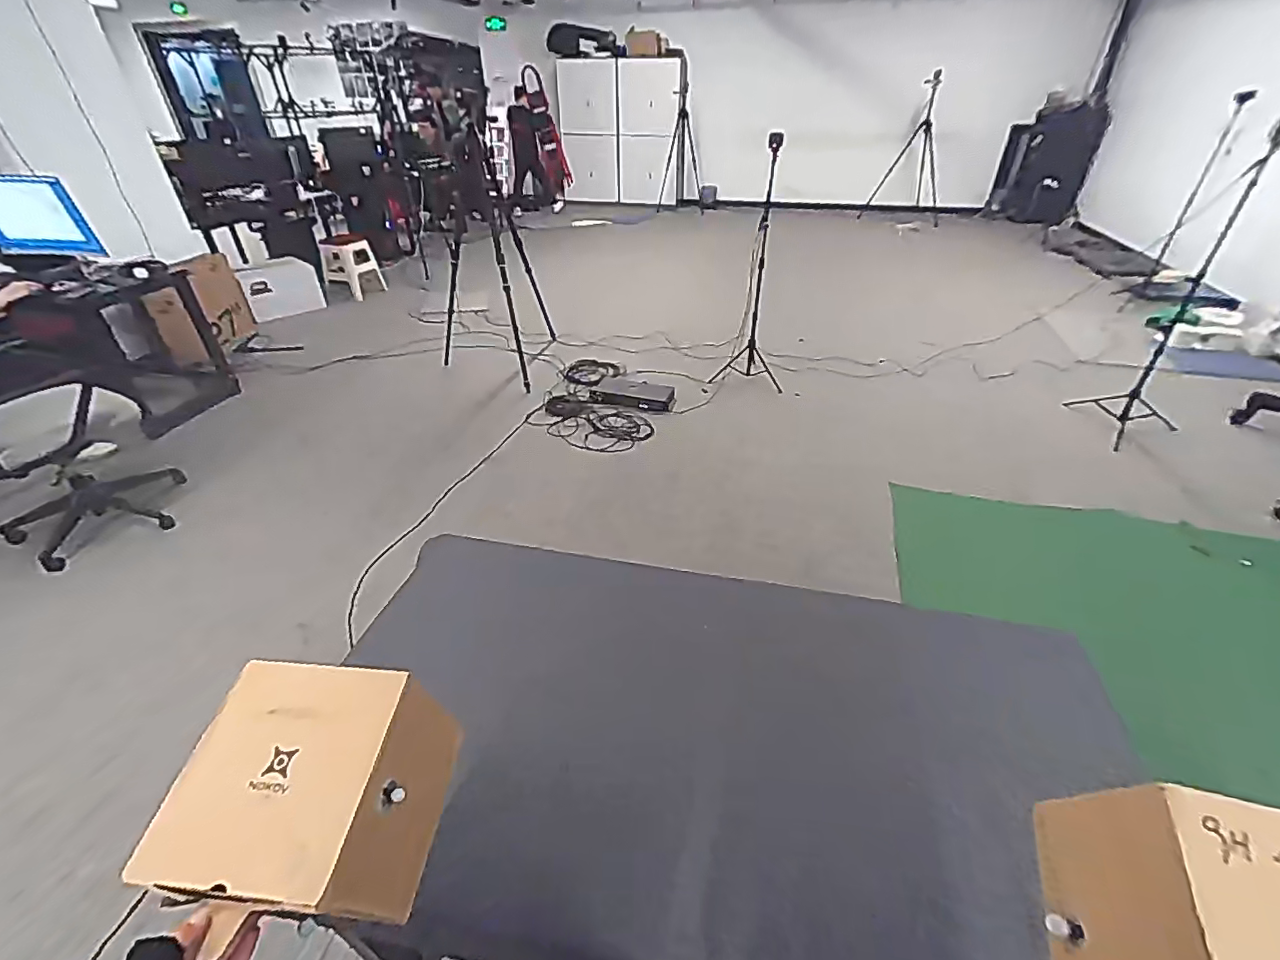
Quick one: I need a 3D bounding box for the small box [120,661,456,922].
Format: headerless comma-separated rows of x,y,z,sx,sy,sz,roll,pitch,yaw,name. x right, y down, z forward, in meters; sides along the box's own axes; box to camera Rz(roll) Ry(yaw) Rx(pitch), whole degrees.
-0.293,0.292,0.506,0.168,0.176,0.179,2,48,6,small box

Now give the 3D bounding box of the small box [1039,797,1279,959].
0.398,0.330,0.349,0.168,0.176,0.179,9,57,12,small box
